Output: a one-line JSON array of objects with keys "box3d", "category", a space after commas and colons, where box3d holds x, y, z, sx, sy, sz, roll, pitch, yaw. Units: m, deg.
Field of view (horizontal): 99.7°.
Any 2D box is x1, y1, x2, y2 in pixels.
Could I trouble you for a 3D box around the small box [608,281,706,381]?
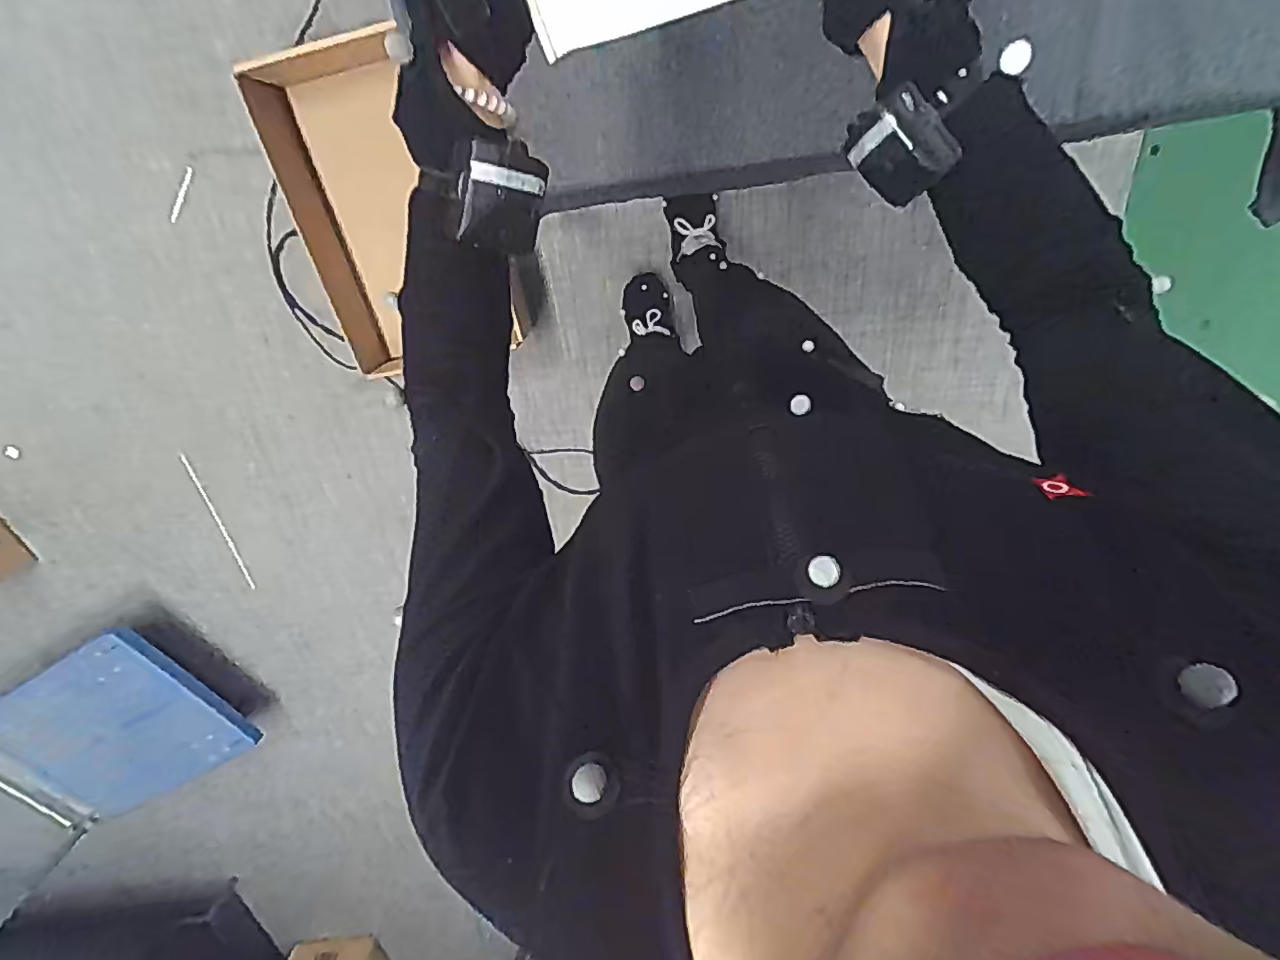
[{"box3d": [0.038, -0.369, 1.335, 0.179, 0.176, 0.168, 30, 123, 5], "category": "small box"}]
